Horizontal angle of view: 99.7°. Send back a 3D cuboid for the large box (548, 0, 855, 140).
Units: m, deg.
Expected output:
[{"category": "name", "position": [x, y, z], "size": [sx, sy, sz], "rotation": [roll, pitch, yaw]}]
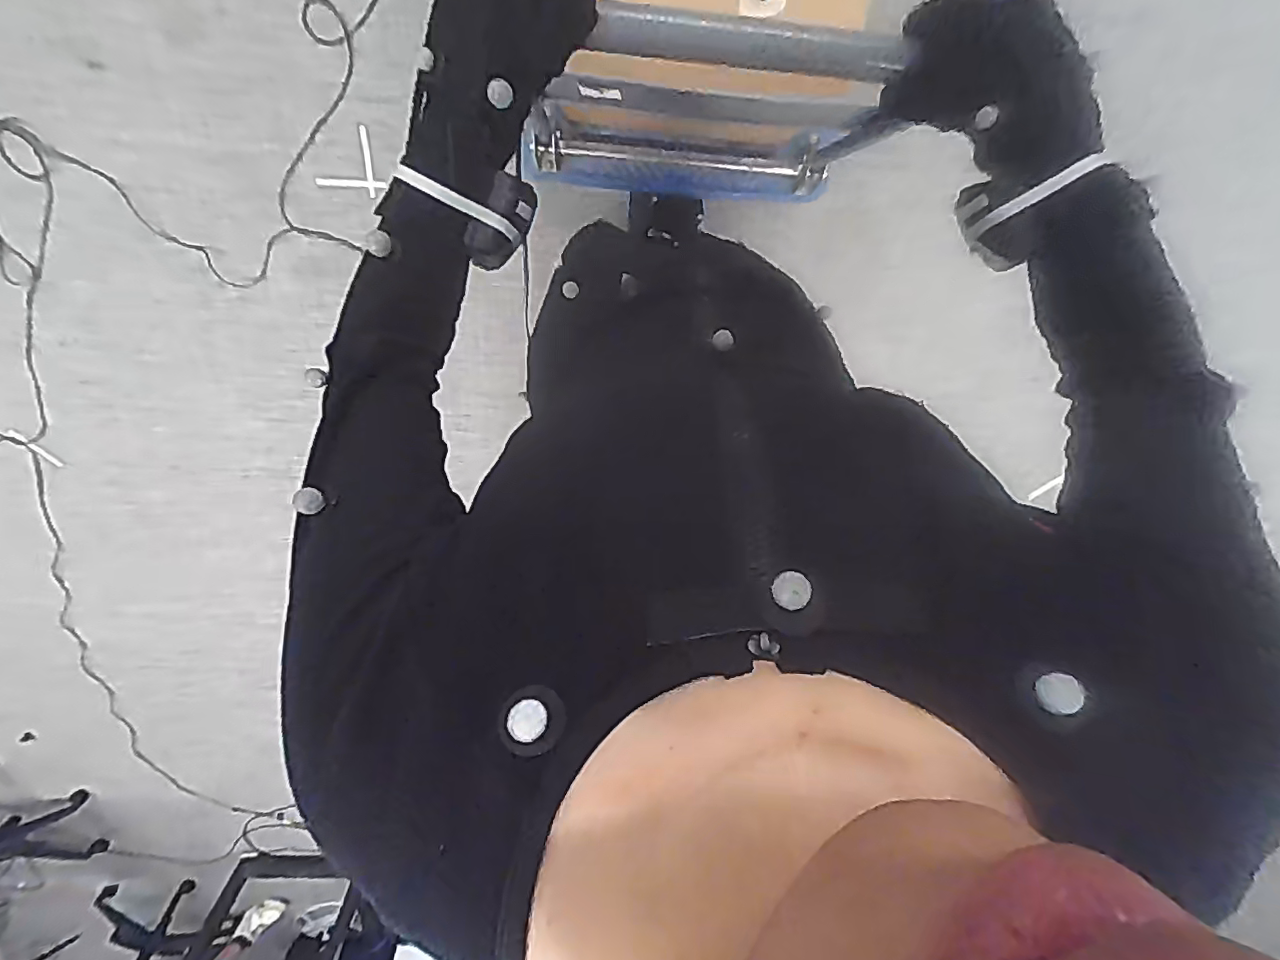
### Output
[{"category": "large box", "position": [0.074, -0.724, 0.806], "size": [0.408, 0.320, 0.320], "rotation": [2, 115, -6]}]
